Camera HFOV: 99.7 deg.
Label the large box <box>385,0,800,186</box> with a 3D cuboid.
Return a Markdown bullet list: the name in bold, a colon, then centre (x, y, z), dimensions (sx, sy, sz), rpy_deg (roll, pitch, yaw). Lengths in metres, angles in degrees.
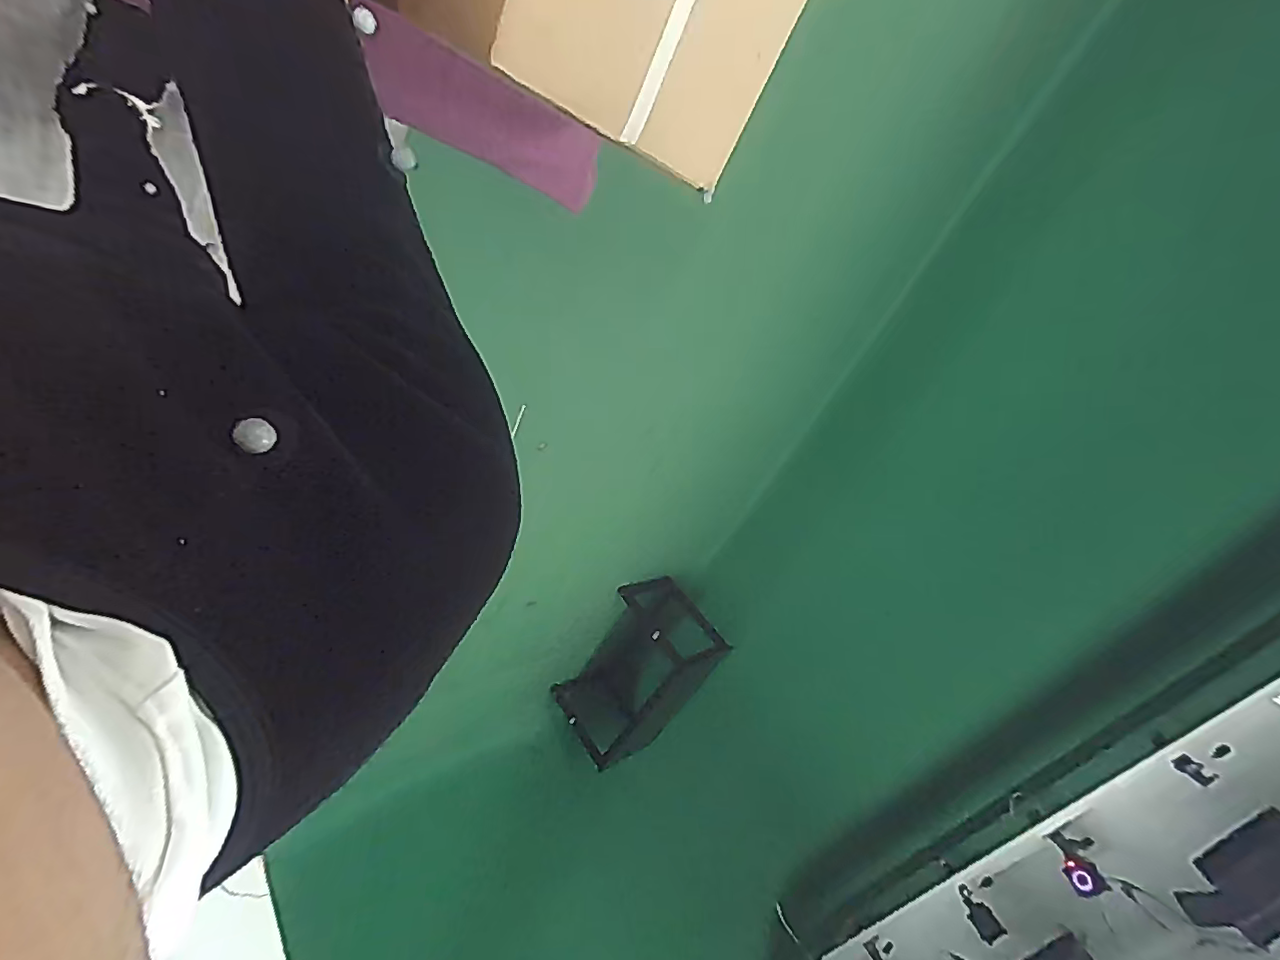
- **large box**: centre (-0.018, -0.601, 0.539), dimensions (0.320, 0.320, 0.408), rpy_deg (-4, 133, -47)
